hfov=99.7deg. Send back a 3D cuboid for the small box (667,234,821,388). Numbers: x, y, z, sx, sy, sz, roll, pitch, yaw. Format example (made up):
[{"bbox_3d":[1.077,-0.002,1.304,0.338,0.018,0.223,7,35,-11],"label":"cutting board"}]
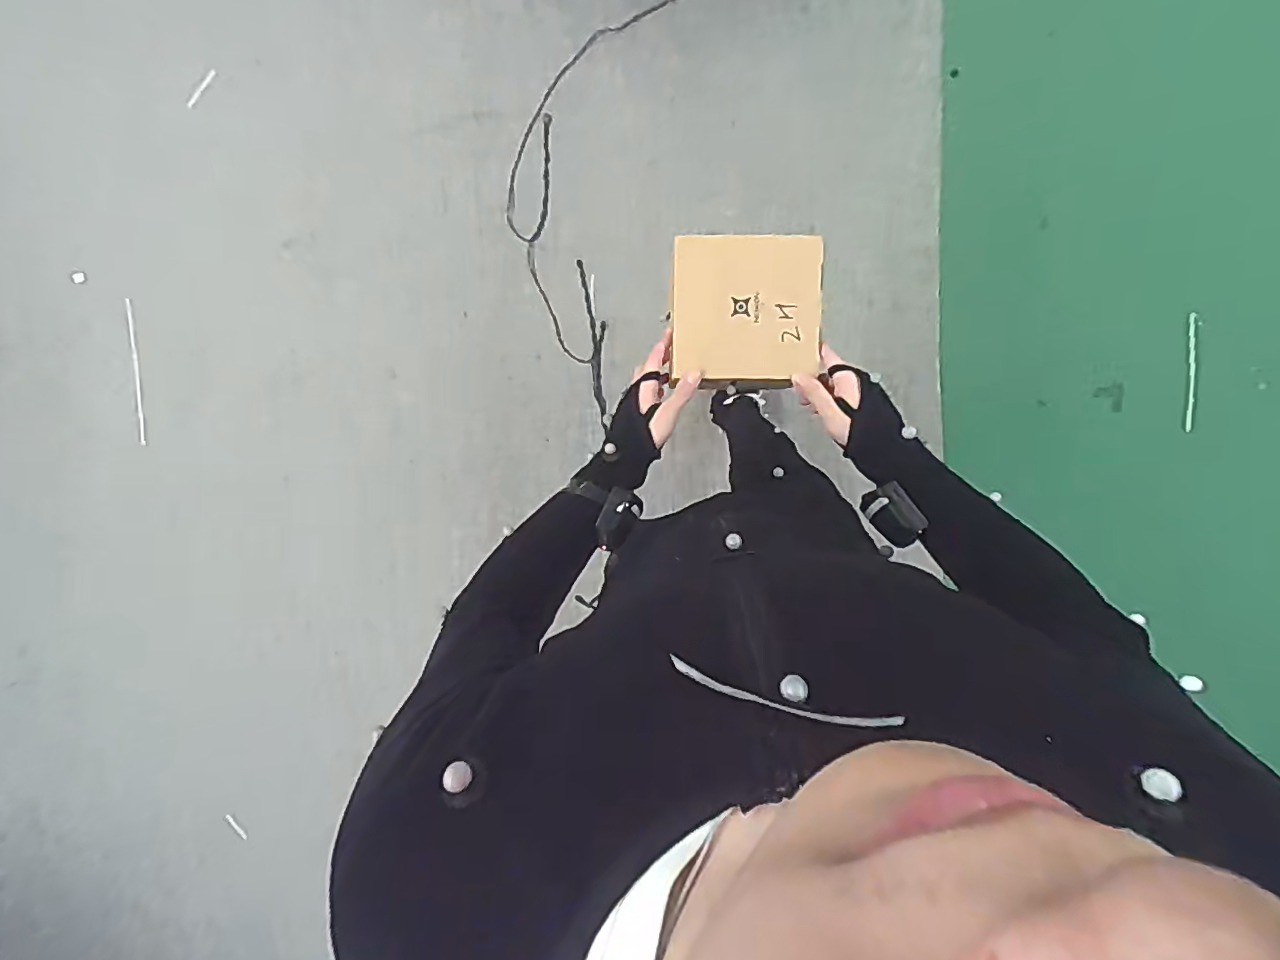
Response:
[{"bbox_3d":[0.125,-0.211,0.714,0.179,0.176,0.168,0,95,1],"label":"small box"}]

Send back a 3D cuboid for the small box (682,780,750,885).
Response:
[{"bbox_3d":[0.196,0.919,1.422,0.168,0.176,0.179,-4,94,6],"label":"small box"}]
